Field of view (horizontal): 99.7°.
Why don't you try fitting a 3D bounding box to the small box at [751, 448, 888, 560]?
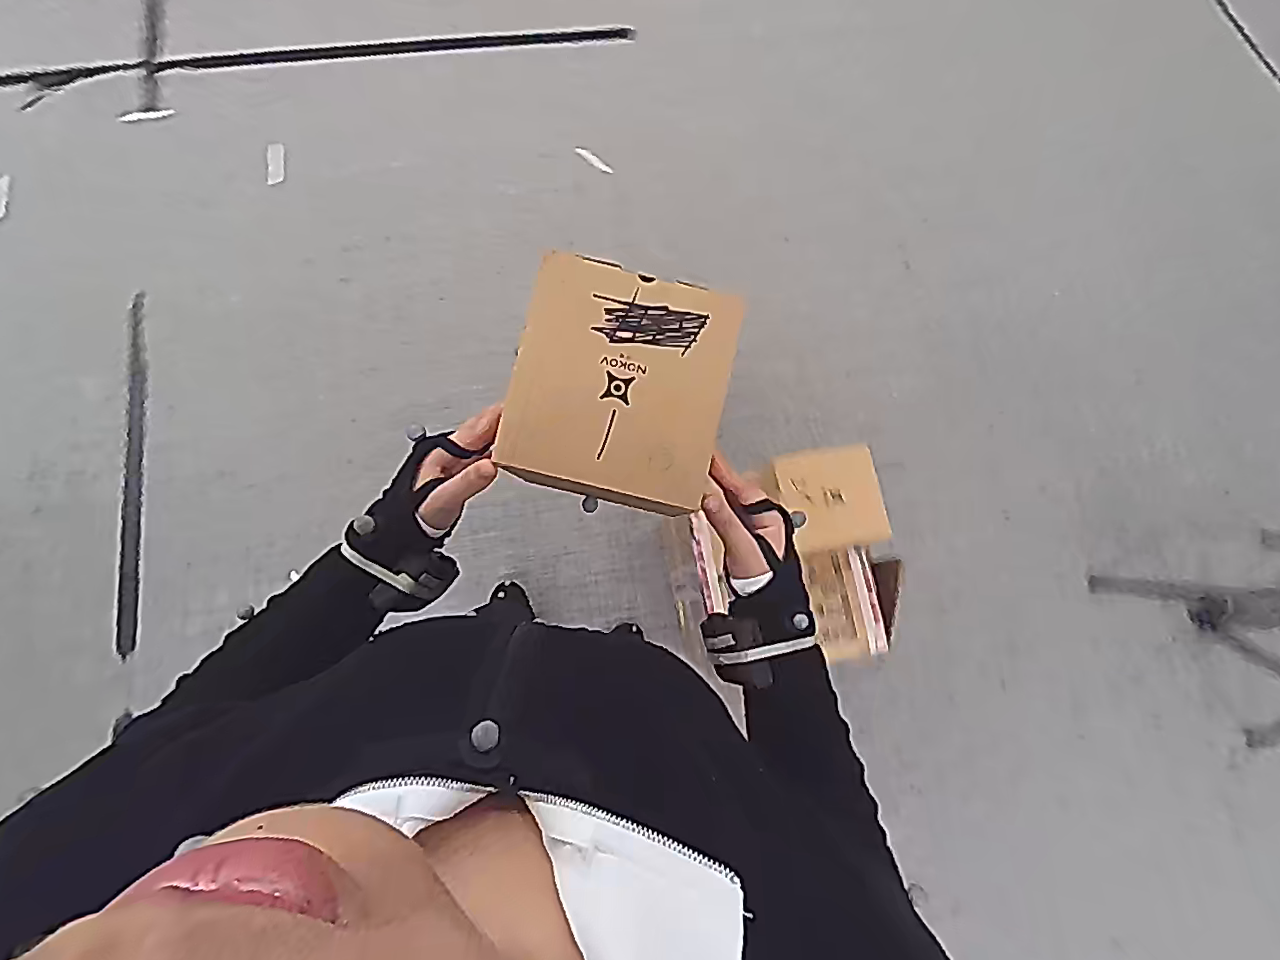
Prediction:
[{"bbox_3d":[0.321,0.050,1.003,0.179,0.176,0.168,-8,76,-3],"label":"small box"}]
